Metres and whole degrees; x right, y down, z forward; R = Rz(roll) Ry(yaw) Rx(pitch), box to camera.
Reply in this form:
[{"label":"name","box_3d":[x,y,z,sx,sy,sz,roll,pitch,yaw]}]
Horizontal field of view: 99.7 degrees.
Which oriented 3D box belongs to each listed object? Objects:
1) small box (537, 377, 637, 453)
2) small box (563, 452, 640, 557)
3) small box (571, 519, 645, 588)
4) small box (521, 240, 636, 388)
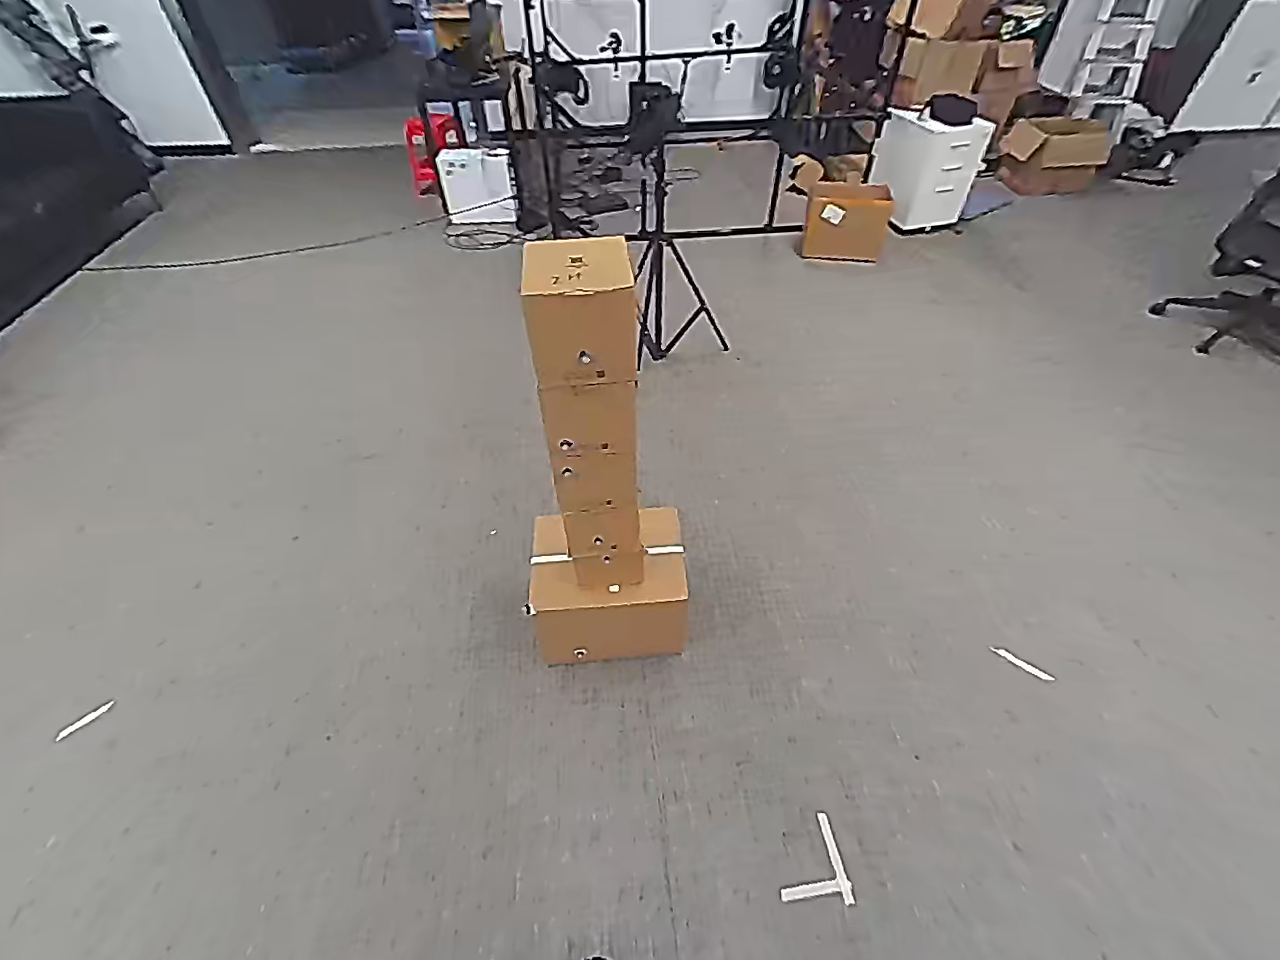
[{"label":"small box","box_3d":[-0.094,-0.163,1.013,0.168,0.176,0.179,-4,47,-2]},{"label":"small box","box_3d":[-0.090,0.057,1.257,0.168,0.176,0.179,-5,48,-3]},{"label":"small box","box_3d":[-0.083,0.161,1.382,0.179,0.176,0.168,-5,48,-5]},{"label":"small box","box_3d":[-0.097,-0.273,0.891,0.168,0.176,0.179,-6,49,-3]}]
